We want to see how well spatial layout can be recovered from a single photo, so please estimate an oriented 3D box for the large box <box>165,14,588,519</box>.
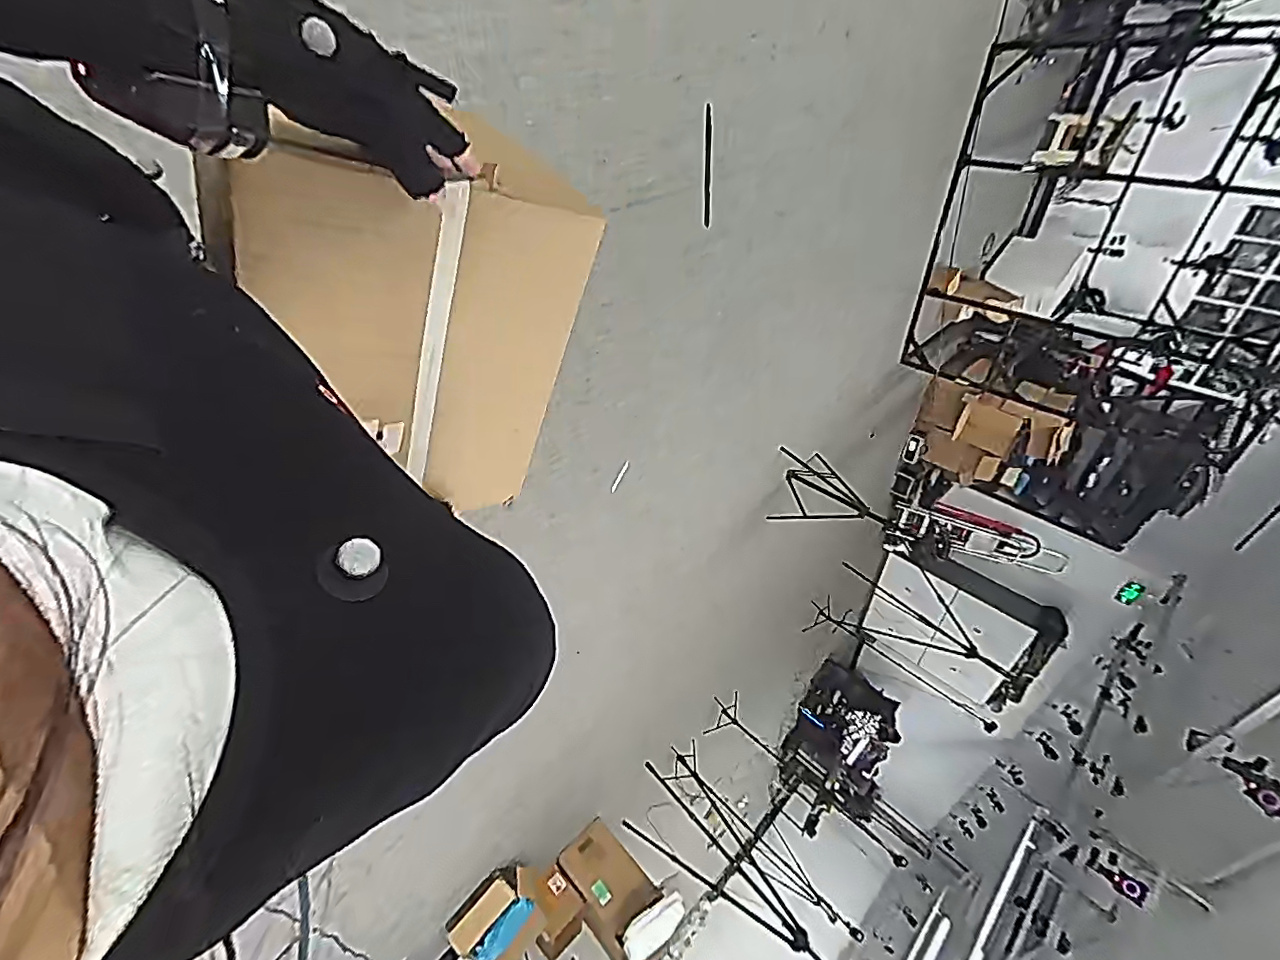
[{"bbox_3d":[-0.313,-0.223,0.641,0.320,0.320,0.408,-10,139,-38],"label":"large box"}]
